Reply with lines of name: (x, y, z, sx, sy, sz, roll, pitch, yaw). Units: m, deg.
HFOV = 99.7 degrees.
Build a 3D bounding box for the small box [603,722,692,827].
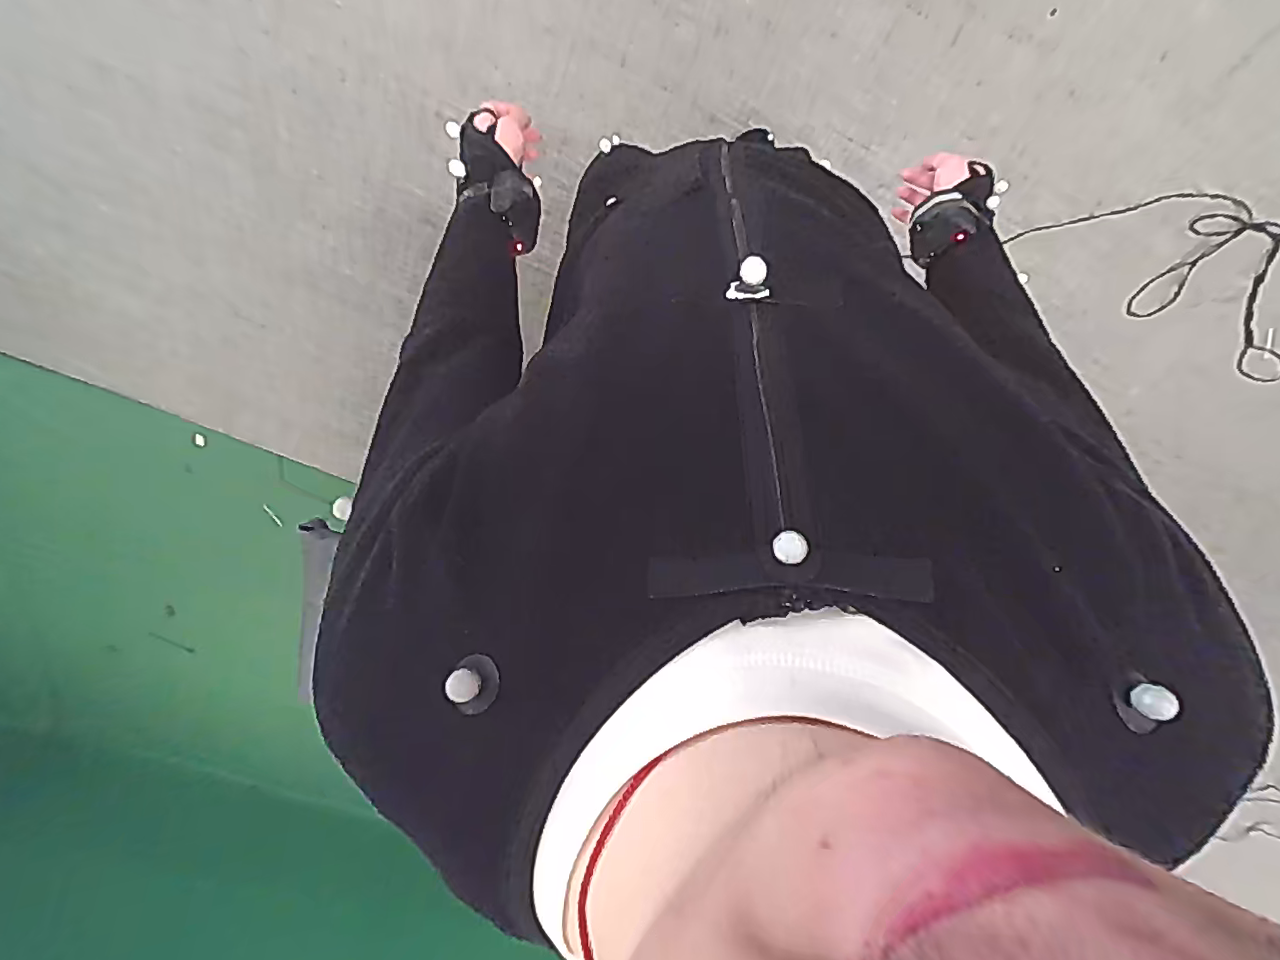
small box: (0.022, 0.754, 1.389, 0.168, 0.176, 0.179, 26, 126, -11)
